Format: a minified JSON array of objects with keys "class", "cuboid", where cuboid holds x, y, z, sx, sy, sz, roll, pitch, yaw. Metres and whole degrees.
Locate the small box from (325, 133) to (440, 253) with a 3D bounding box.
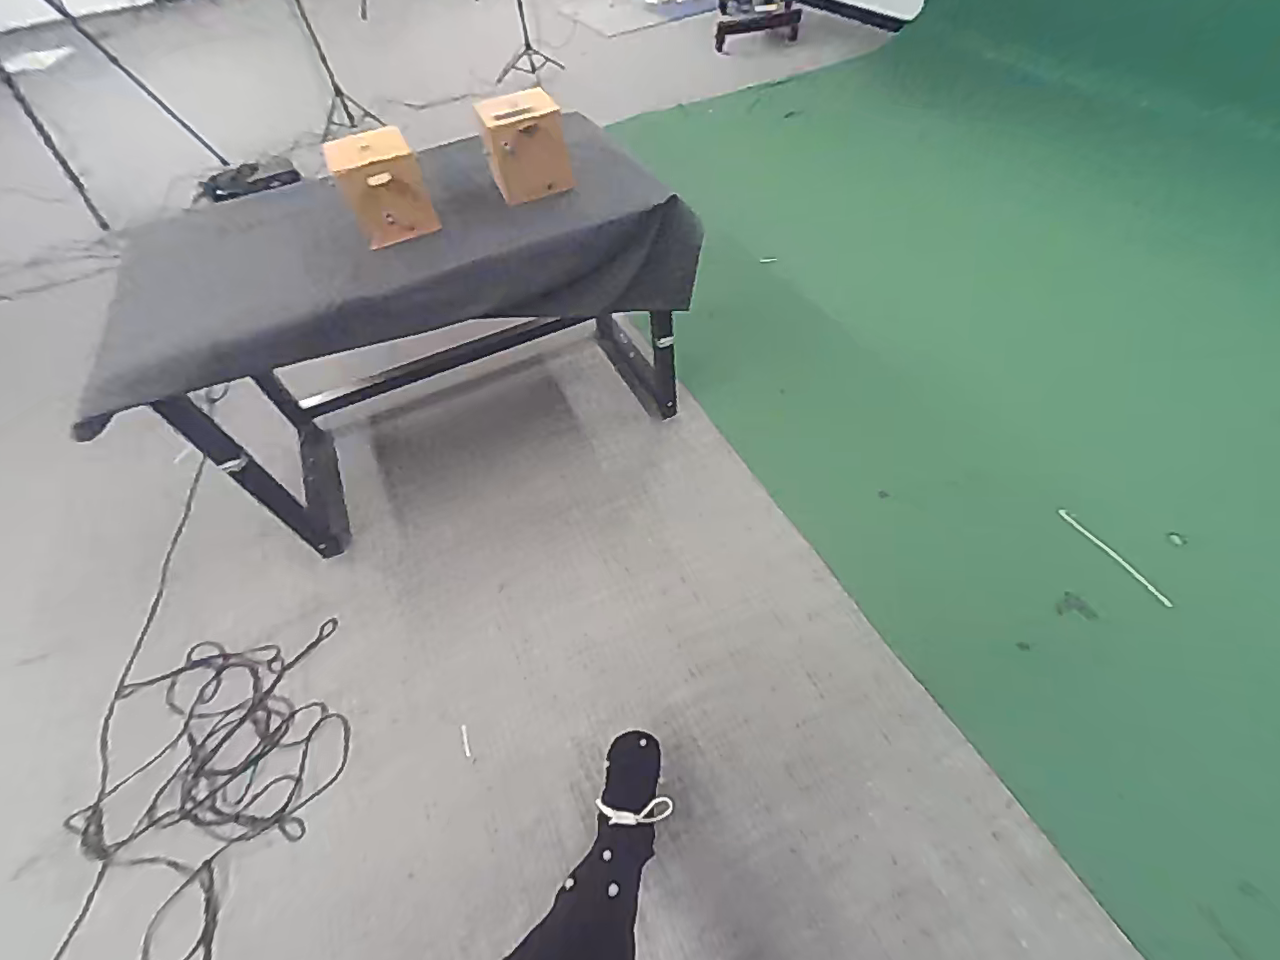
[{"class":"small box","cuboid":[-0.569,-0.638,1.204,0.168,0.176,0.179,-24,54,-13]}]
